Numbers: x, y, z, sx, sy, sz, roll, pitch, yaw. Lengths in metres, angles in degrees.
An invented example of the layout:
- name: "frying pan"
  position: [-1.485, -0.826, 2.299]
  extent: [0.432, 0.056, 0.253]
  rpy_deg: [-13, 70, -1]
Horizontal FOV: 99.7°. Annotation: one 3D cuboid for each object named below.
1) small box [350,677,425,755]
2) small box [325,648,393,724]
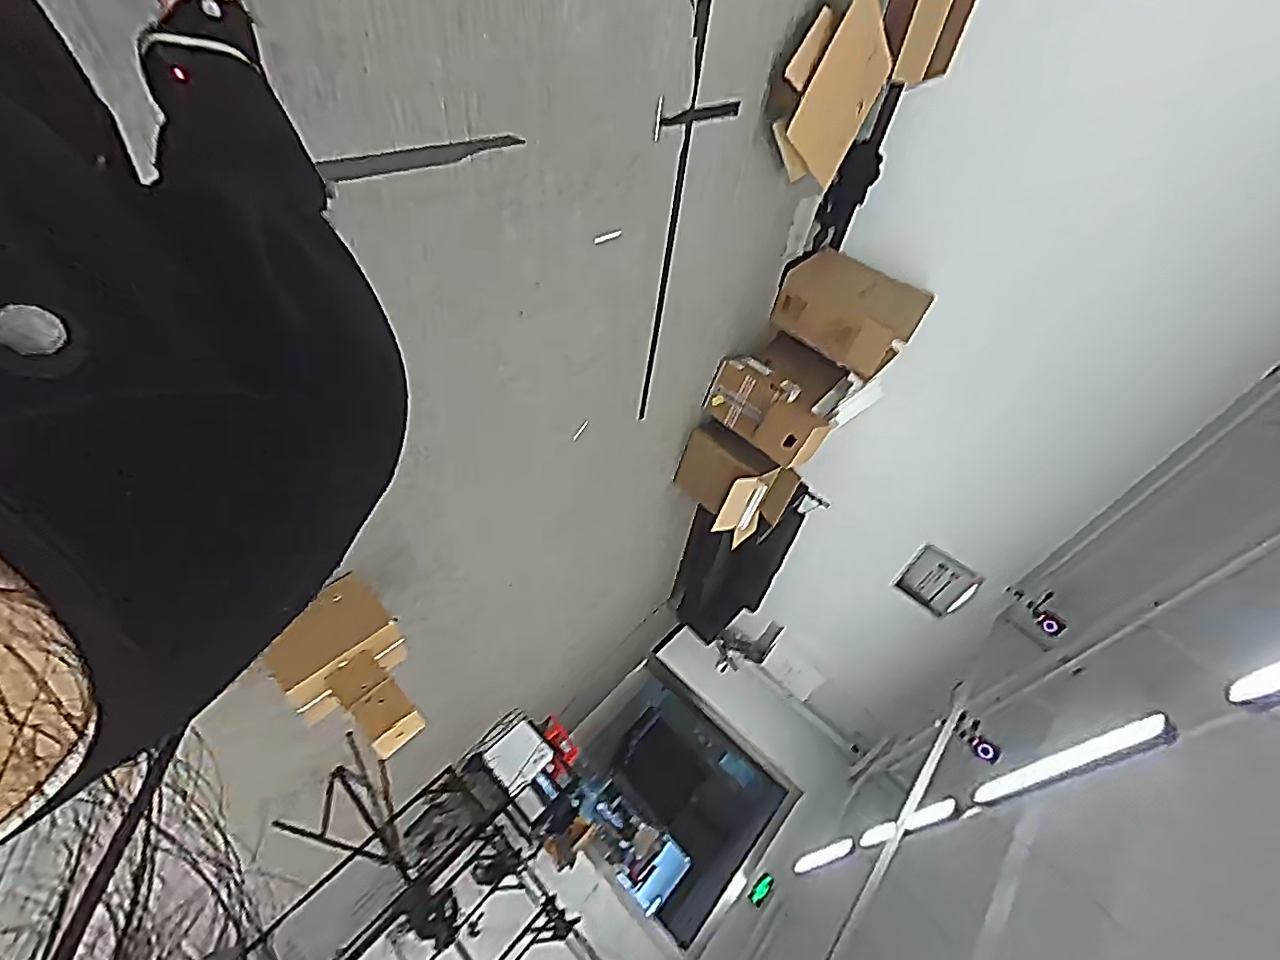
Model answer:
- name: "small box"
  position: [-0.905, 0.843, 1.942]
  extent: [0.168, 0.176, 0.179]
  rpy_deg: [-36, 150, -33]
- name: "small box"
  position: [-1.028, 0.761, 2.011]
  extent: [0.179, 0.176, 0.168]
  rpy_deg: [-36, 150, -32]
